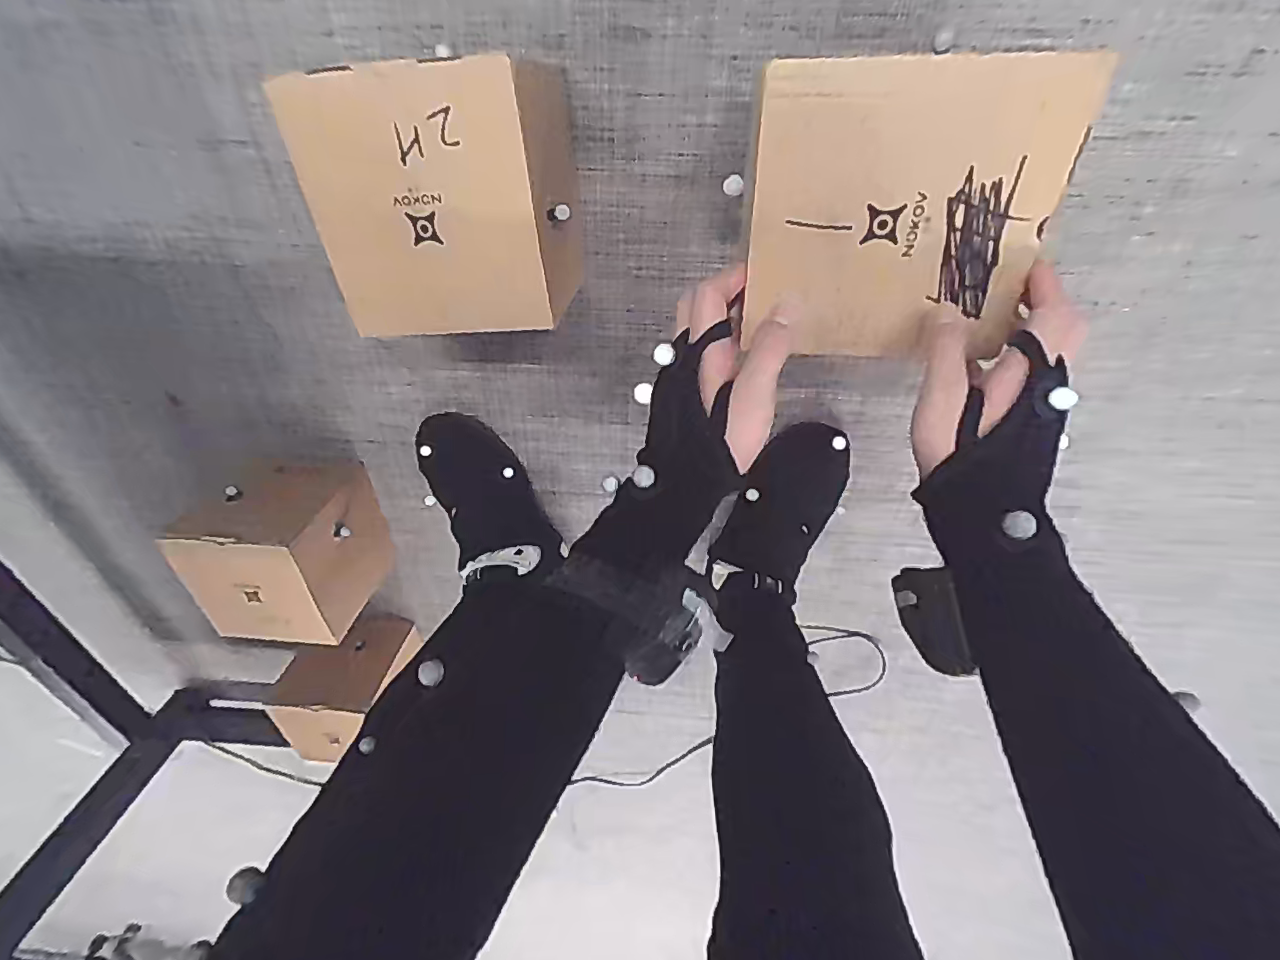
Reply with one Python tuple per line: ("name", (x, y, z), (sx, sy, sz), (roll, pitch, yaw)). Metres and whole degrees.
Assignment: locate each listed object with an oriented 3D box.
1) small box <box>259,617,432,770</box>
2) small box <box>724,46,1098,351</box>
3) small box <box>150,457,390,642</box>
("small box", (-0.471, 0.350, 0.900), (0.168, 0.176, 0.179), (2, 125, 5))
("small box", (0.155, -0.206, 0.389), (0.179, 0.176, 0.168), (5, 127, 7))
("small box", (-0.462, 0.085, 0.711), (0.168, 0.176, 0.179), (3, 126, 5))
